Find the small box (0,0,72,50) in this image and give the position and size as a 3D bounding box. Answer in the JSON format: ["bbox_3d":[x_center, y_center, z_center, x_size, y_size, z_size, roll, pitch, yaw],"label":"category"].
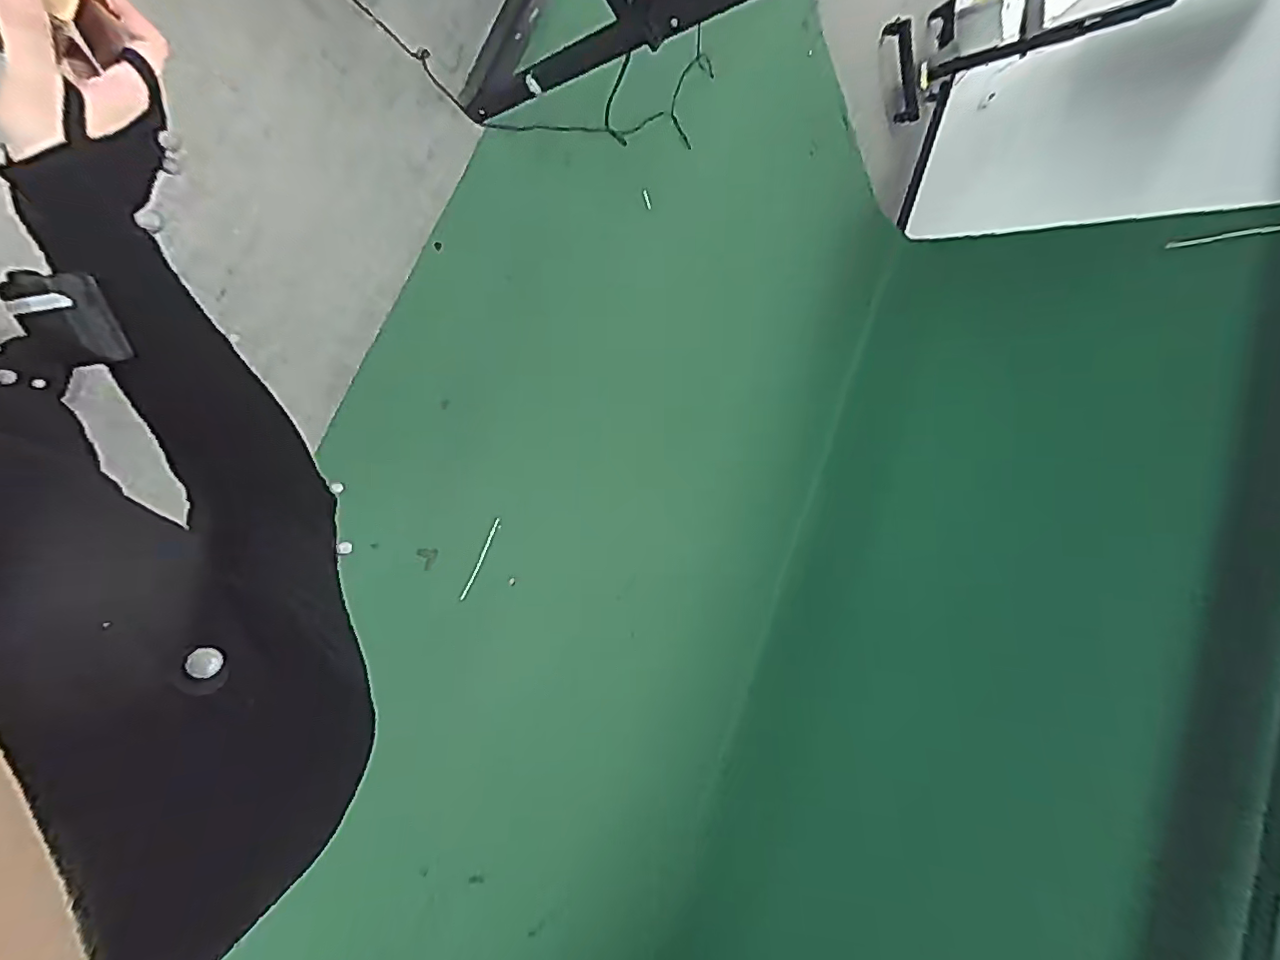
[{"bbox_3d":[-0.430,-0.402,0.313,0.168,0.176,0.179,15,94,-53],"label":"small box"}]
